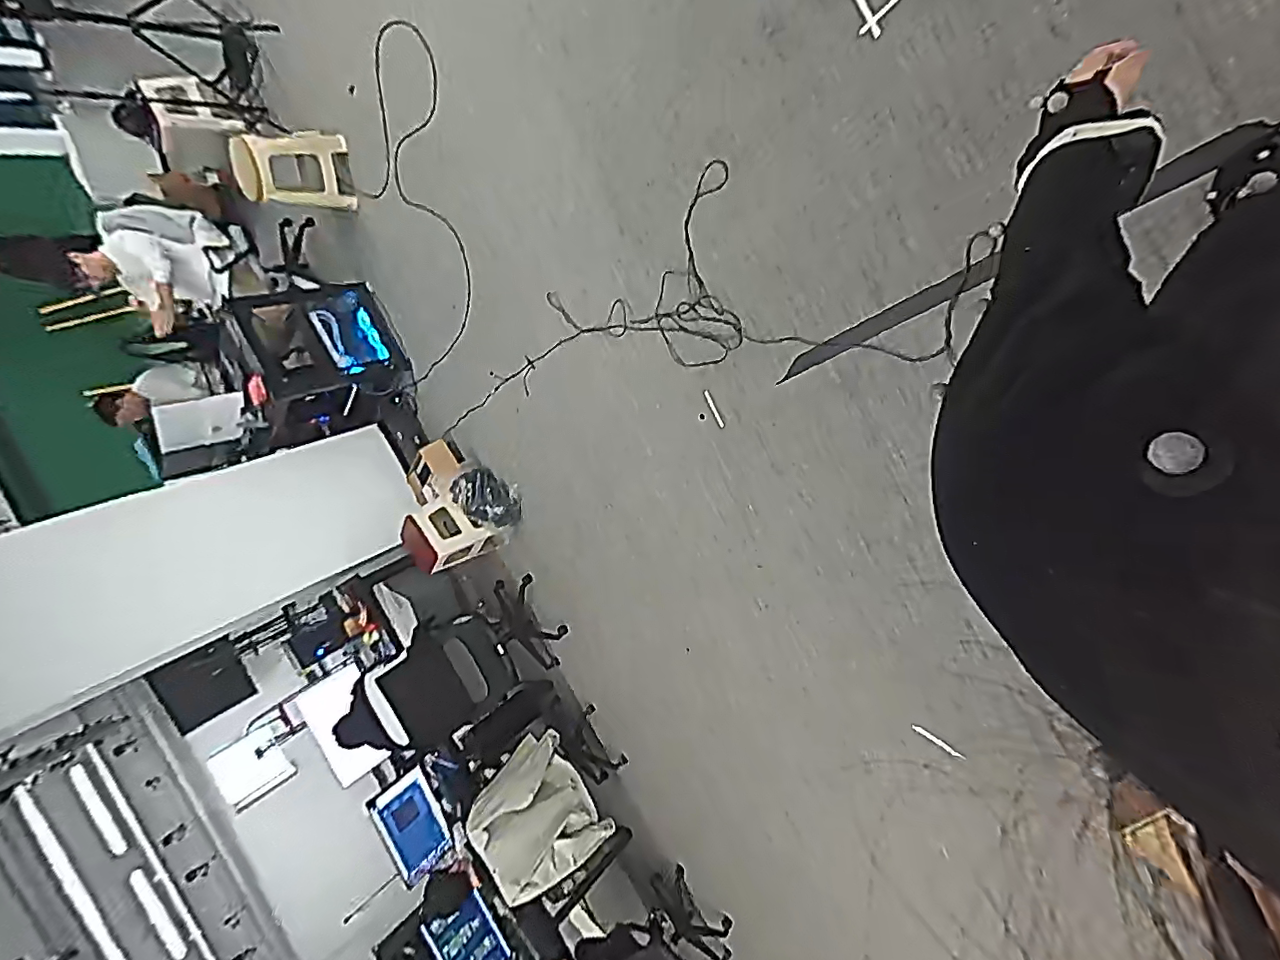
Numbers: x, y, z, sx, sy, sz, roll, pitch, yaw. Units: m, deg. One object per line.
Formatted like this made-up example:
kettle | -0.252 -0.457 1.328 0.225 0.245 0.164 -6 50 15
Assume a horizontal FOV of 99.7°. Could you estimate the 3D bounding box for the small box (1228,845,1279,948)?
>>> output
small box | 1.182 0.776 0.936 0.168 0.176 0.179 35 133 26
